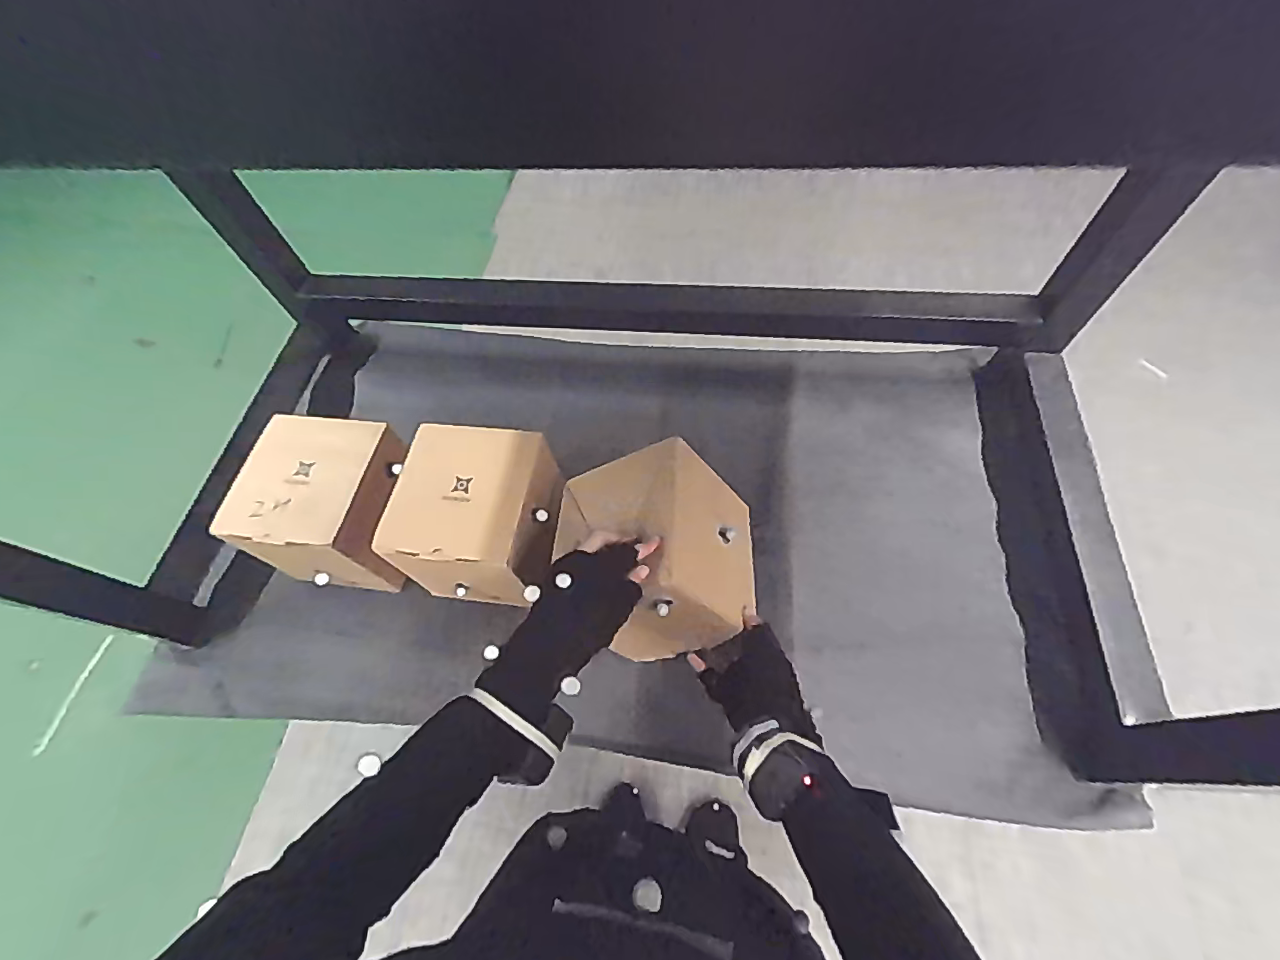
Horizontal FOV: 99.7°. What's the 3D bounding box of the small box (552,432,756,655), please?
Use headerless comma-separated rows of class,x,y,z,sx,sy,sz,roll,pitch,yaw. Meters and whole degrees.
small box,0.017,0.079,0.618,0.168,0.176,0.179,-21,48,30
